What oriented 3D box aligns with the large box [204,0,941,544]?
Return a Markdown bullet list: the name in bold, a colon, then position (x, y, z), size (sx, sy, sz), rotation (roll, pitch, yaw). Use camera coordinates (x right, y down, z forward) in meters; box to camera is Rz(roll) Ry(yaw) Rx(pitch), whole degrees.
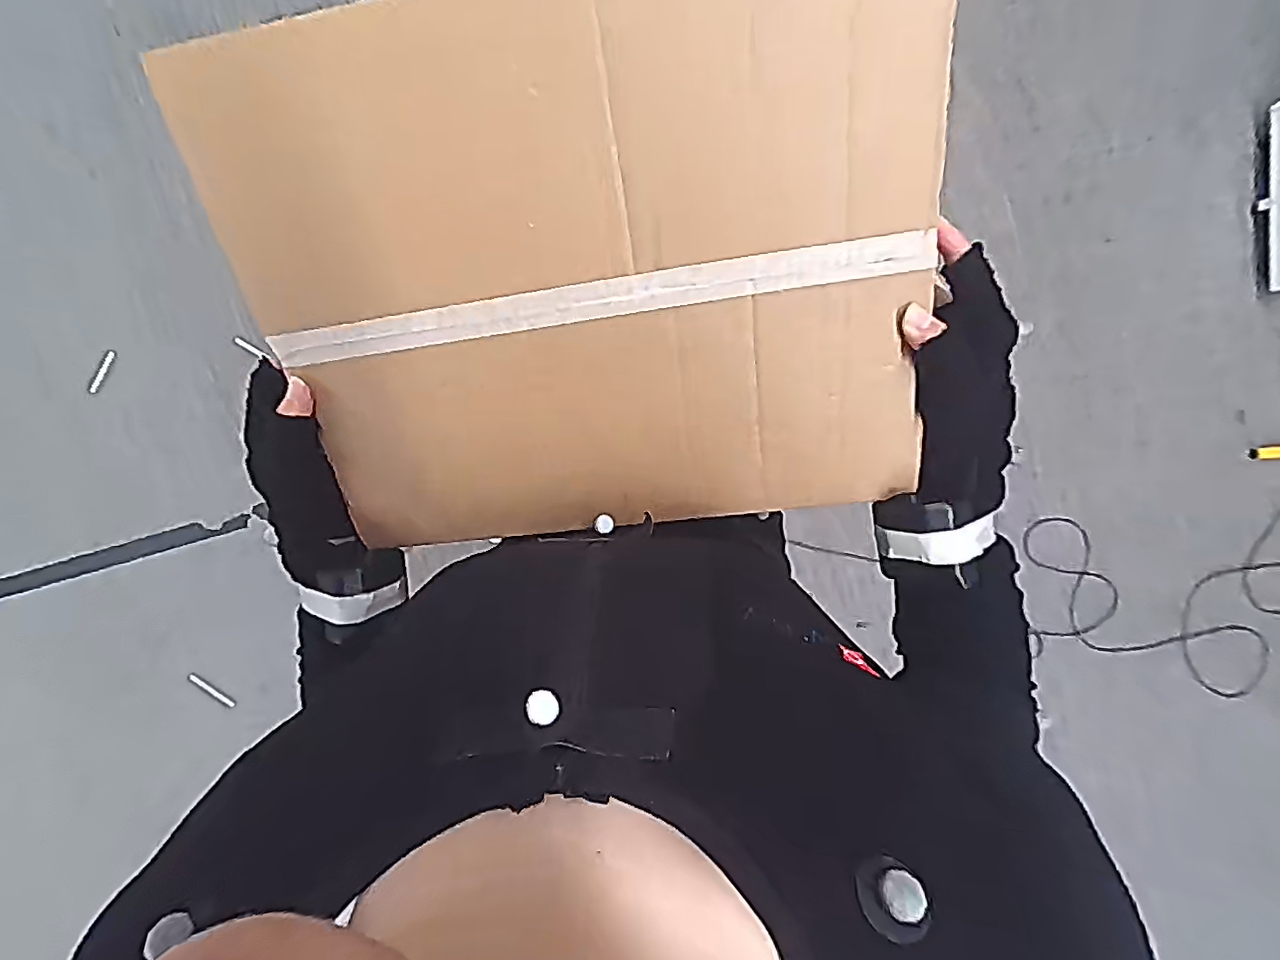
- **large box**: position (-0.021, -0.173, 0.473), size (0.408, 0.320, 0.320), rotation (-6, 117, 7)
